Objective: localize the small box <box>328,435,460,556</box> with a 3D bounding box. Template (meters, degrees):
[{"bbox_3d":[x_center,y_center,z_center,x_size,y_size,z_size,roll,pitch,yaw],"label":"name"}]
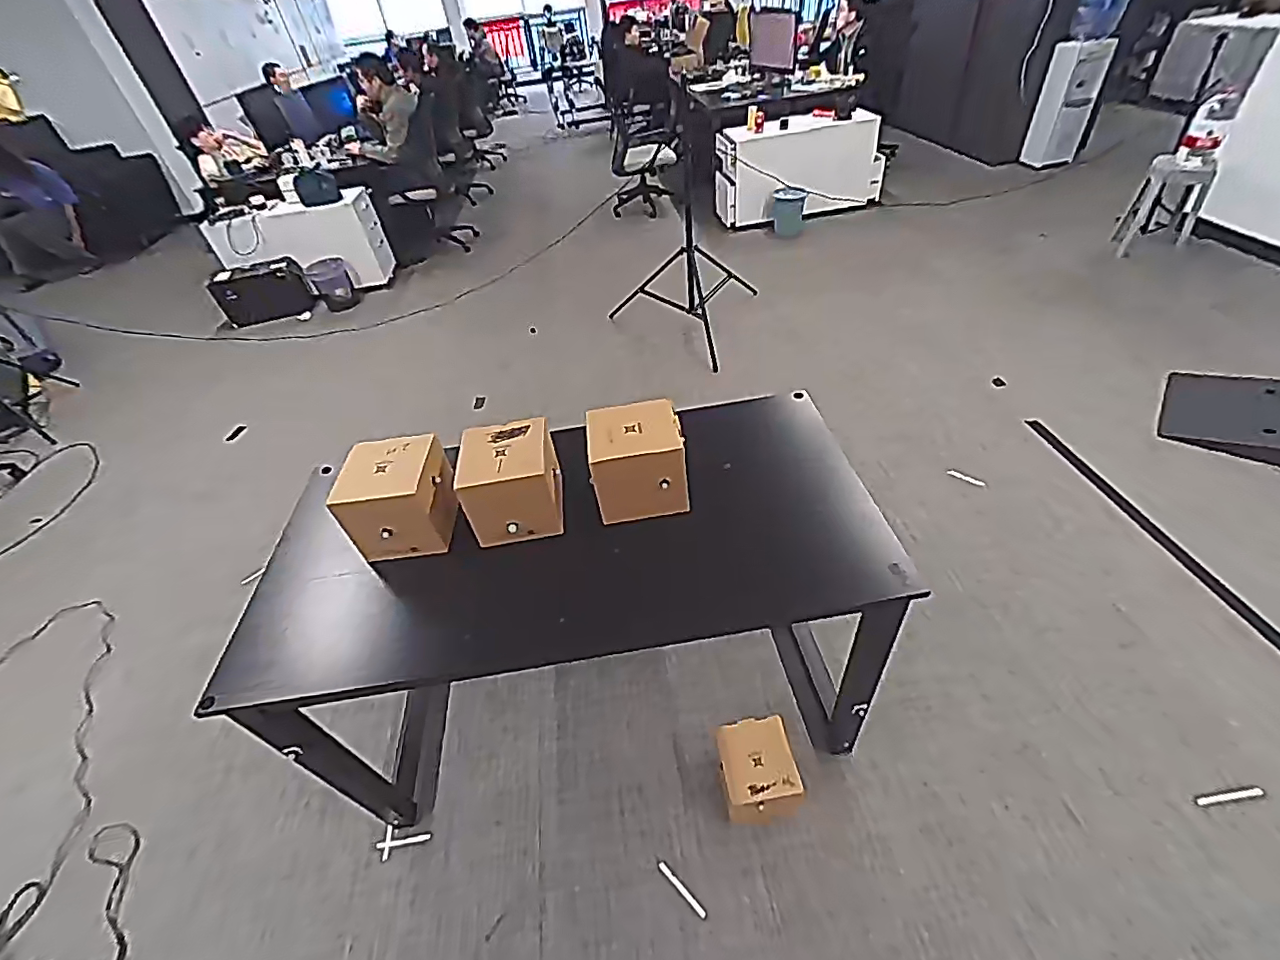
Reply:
[{"bbox_3d":[-0.474,0.038,1.075,0.168,0.176,0.179,-7,43,1],"label":"small box"}]

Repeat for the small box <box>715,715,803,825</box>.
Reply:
[{"bbox_3d":[0.281,0.703,1.311,0.168,0.176,0.179,-11,42,-1],"label":"small box"}]

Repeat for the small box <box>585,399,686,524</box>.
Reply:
[{"bbox_3d":[-0.006,-0.035,1.079,0.179,0.176,0.168,-10,42,0],"label":"small box"}]

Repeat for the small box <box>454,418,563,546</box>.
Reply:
[{"bbox_3d":[-0.252,0.004,1.075,0.168,0.176,0.179,-10,44,-1],"label":"small box"}]
